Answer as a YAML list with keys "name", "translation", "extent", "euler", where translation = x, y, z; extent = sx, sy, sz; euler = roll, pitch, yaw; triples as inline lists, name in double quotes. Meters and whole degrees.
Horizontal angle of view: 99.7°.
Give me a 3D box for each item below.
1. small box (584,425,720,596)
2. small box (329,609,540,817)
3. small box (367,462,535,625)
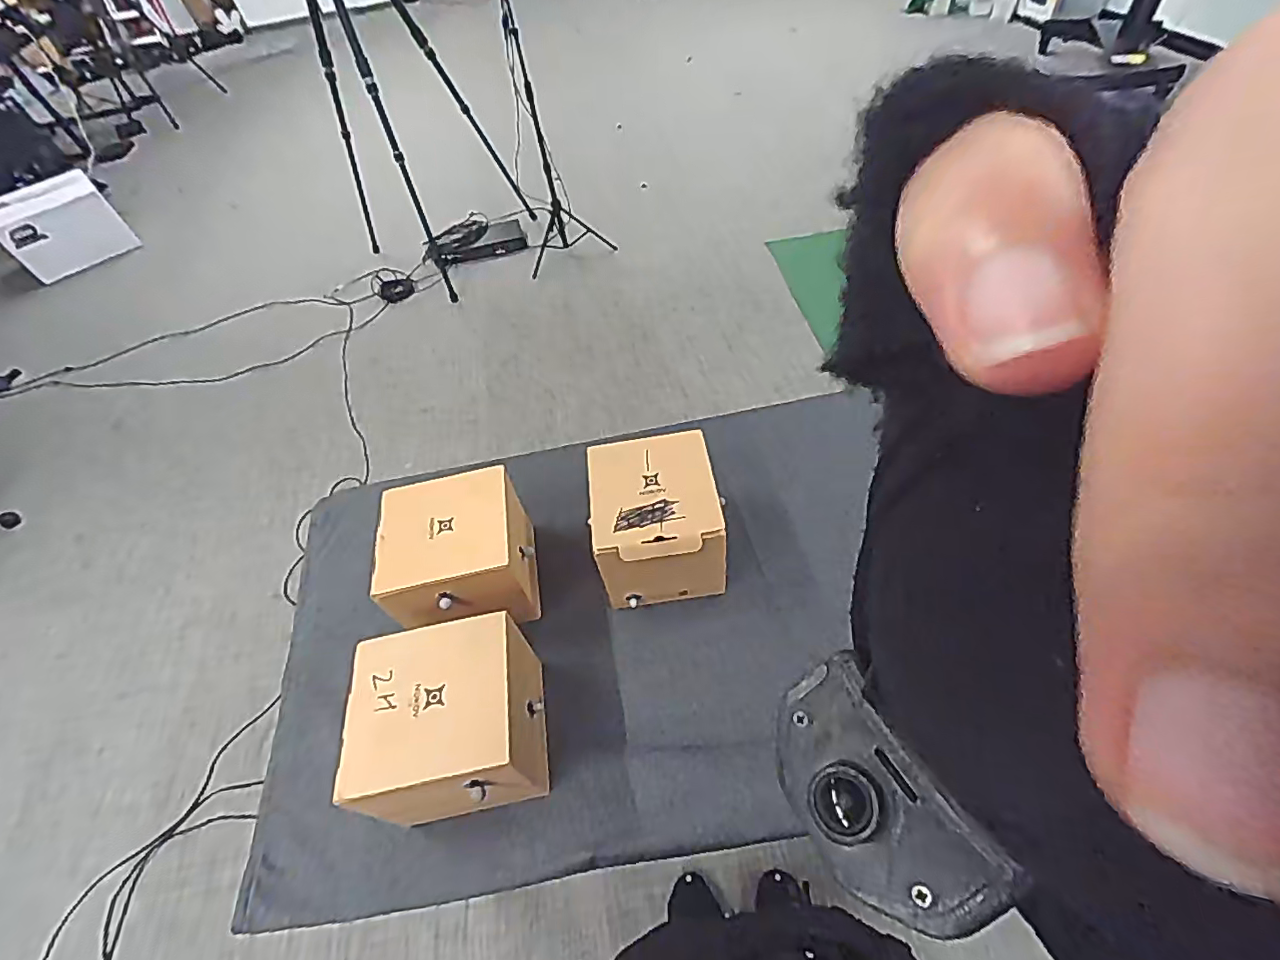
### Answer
- name: "small box"
  translation: [0.019, 0.052, 0.767]
  extent: [0.168, 0.176, 0.179]
  euler: [-9, 52, 2]
- name: "small box"
  translation: [-0.219, 0.274, 0.630]
  extent: [0.179, 0.176, 0.168]
  euler: [-12, 51, -2]
- name: "small box"
  translation: [-0.254, 0.103, 0.770]
  extent: [0.179, 0.176, 0.168]
  euler: [-13, 53, -1]
